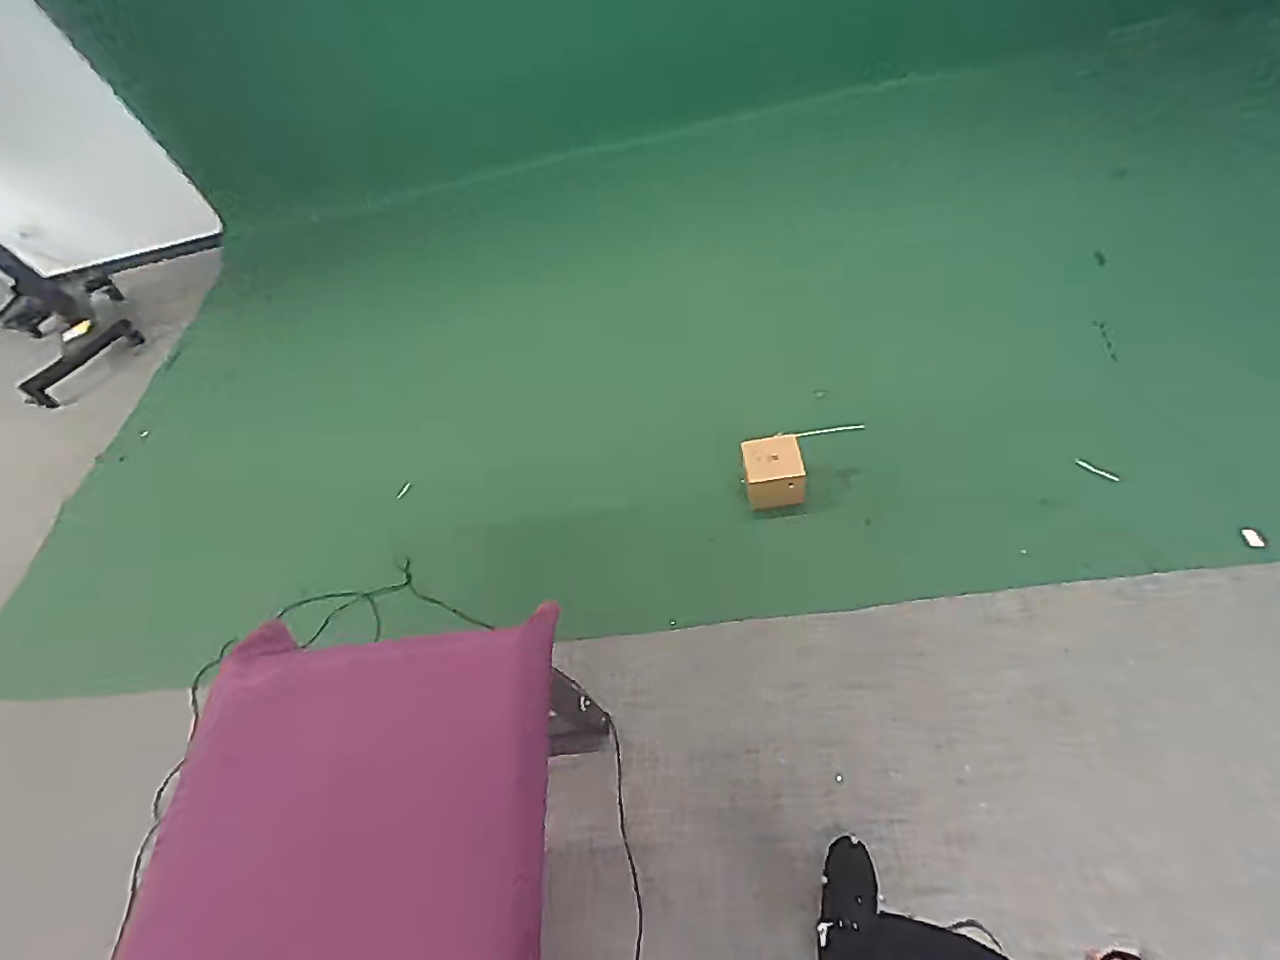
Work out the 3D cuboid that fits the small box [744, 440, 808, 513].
[{"bbox_3d":[0.442,-0.008,1.776,0.179,0.176,0.168,-9,54,8],"label":"small box"}]
